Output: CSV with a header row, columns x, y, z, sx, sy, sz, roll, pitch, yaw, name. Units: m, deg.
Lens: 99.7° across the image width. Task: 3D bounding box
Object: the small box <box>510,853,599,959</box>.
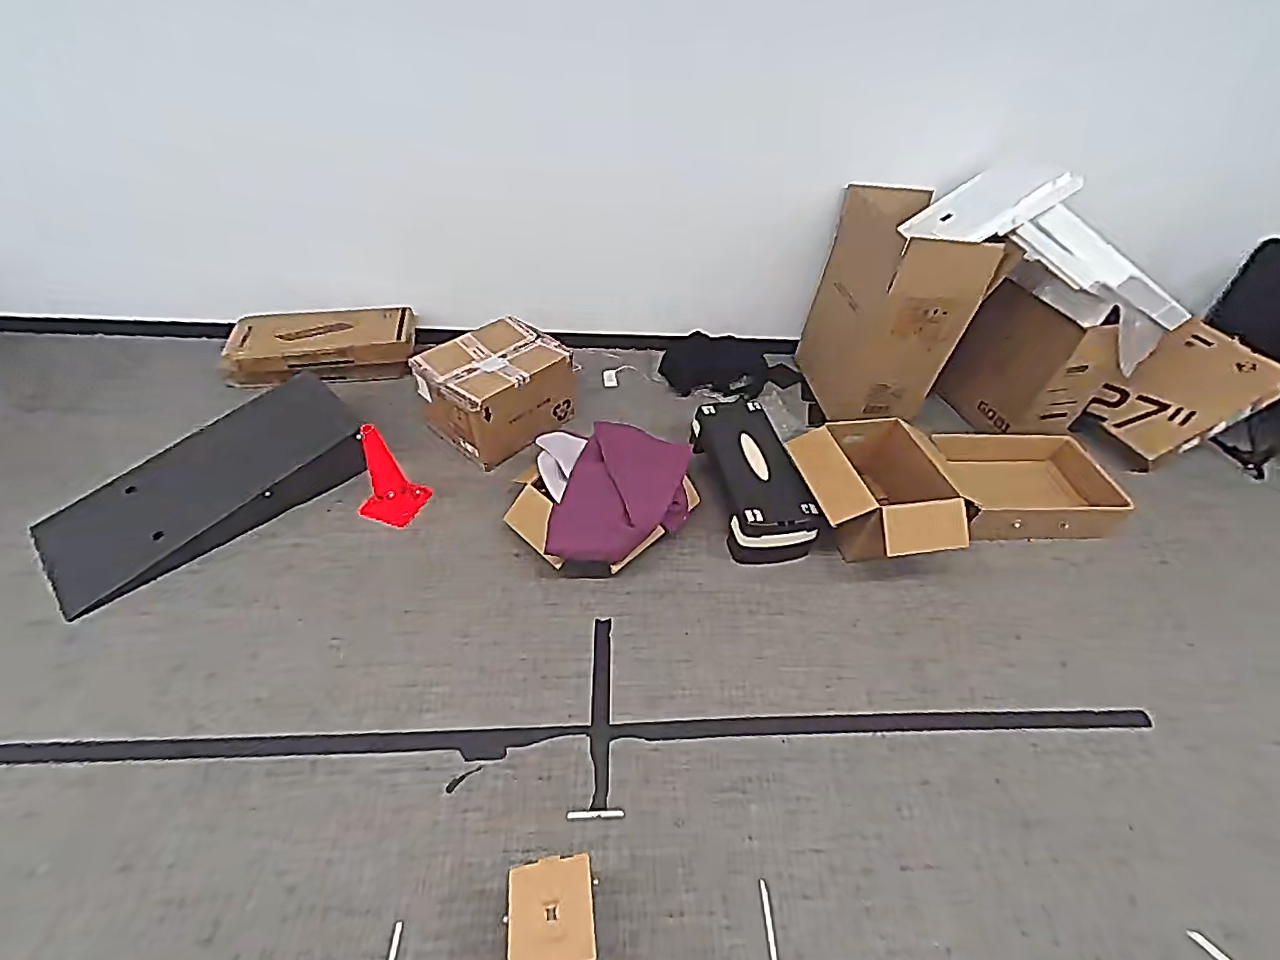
x,y,z,sx,sy,sz,roll,pitch,yaw,name
-0.175,0.898,1.110,0.168,0.176,0.179,-5,48,-8,small box
